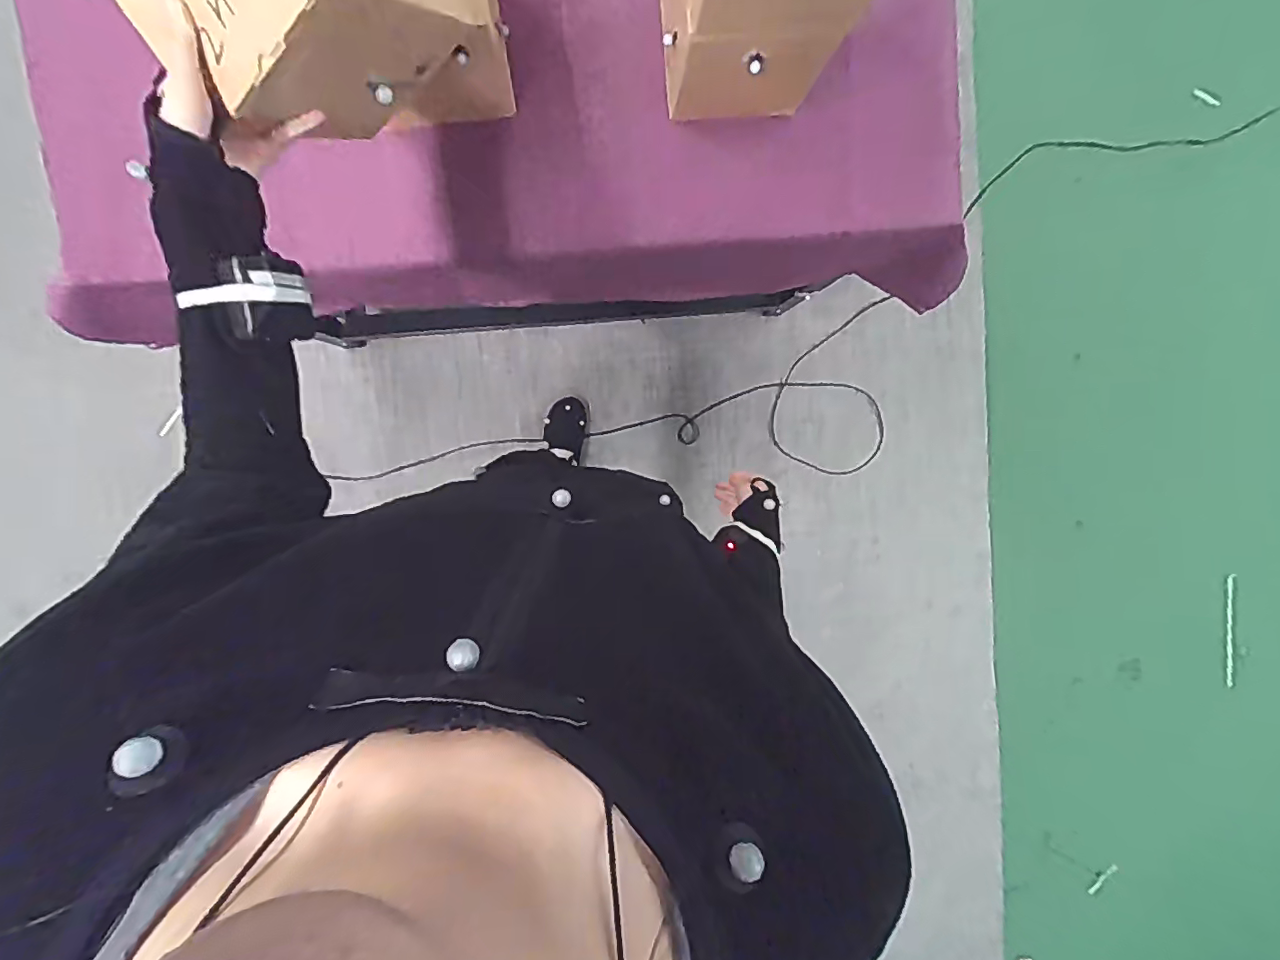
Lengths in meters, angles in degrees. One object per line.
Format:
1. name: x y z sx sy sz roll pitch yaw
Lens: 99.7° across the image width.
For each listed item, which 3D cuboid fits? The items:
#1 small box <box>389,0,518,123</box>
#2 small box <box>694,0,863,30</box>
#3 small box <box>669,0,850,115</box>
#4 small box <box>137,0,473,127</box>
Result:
1. small box: -0.251 -0.546 0.625 0.179 0.176 0.168 -10 97 -4
2. small box: 0.146 -0.551 0.487 0.179 0.176 0.168 -5 97 -3
3. small box: 0.130 -0.569 0.650 0.179 0.176 0.168 -5 97 -4
4. small box: -0.271 -0.410 0.422 0.168 0.176 0.179 -20 111 29
